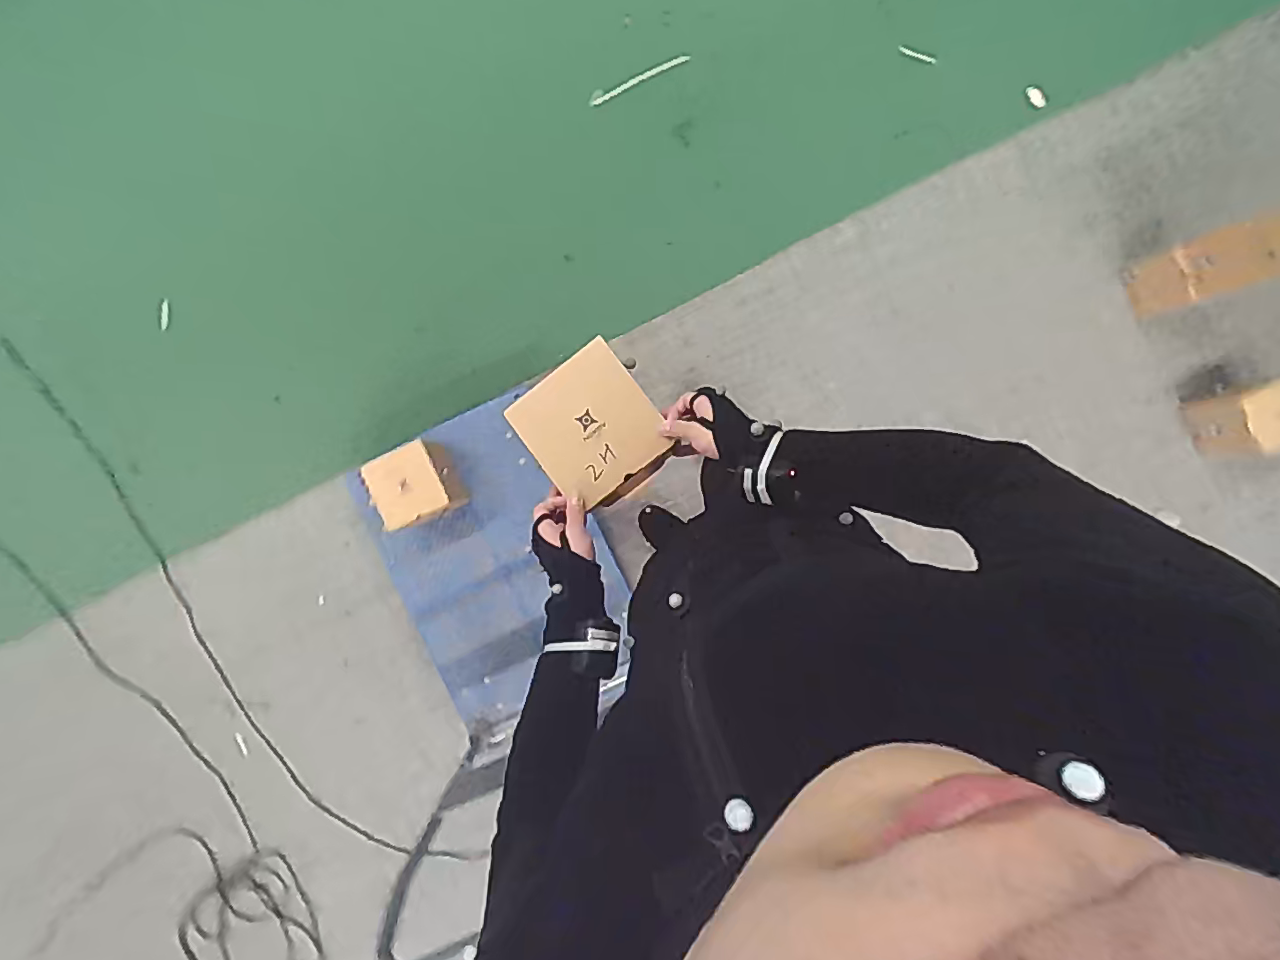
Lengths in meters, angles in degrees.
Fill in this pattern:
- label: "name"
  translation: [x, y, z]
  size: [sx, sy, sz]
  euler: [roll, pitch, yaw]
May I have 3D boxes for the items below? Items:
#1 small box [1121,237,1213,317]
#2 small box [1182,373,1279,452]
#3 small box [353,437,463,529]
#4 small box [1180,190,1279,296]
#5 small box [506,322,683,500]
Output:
- label: "small box"
  translation: [1.506, -0.579, 1.512]
  size: [0.179, 0.176, 0.168]
  euler: [-21, 91, 0]
- label: "small box"
  translation: [1.689, -0.183, 1.515]
  size: [0.179, 0.176, 0.168]
  euler: [-24, 90, 2]
- label: "small box"
  translation: [-0.577, 0.004, 1.369]
  size: [0.168, 0.176, 0.179]
  euler: [-25, 91, 0]
- label: "small box"
  translation: [1.521, -0.587, 1.358]
  size: [0.168, 0.176, 0.179]
  euler: [11, 91, 2]
- label: "small box"
  translation: [-0.055, -0.086, 0.766]
  size: [0.168, 0.176, 0.179]
  euler: [-35, 88, 4]
